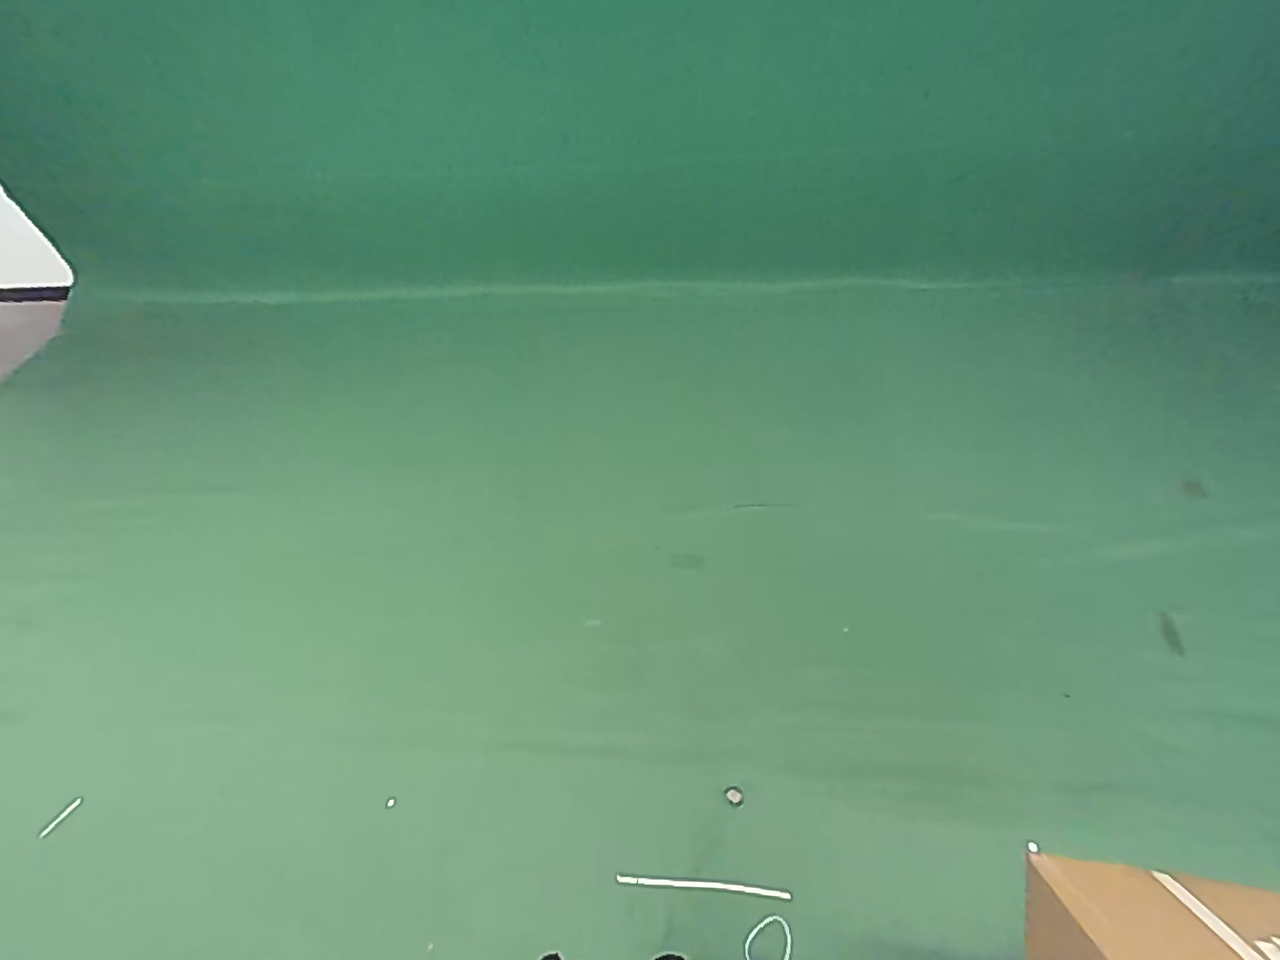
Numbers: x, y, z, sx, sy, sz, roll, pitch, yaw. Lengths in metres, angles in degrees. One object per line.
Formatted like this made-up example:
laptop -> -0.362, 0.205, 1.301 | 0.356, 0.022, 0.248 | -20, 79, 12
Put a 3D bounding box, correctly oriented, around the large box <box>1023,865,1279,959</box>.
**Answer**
large box -> 0.649, 0.691, 0.538 | 0.320, 0.408, 0.320 | 4, 88, 11
